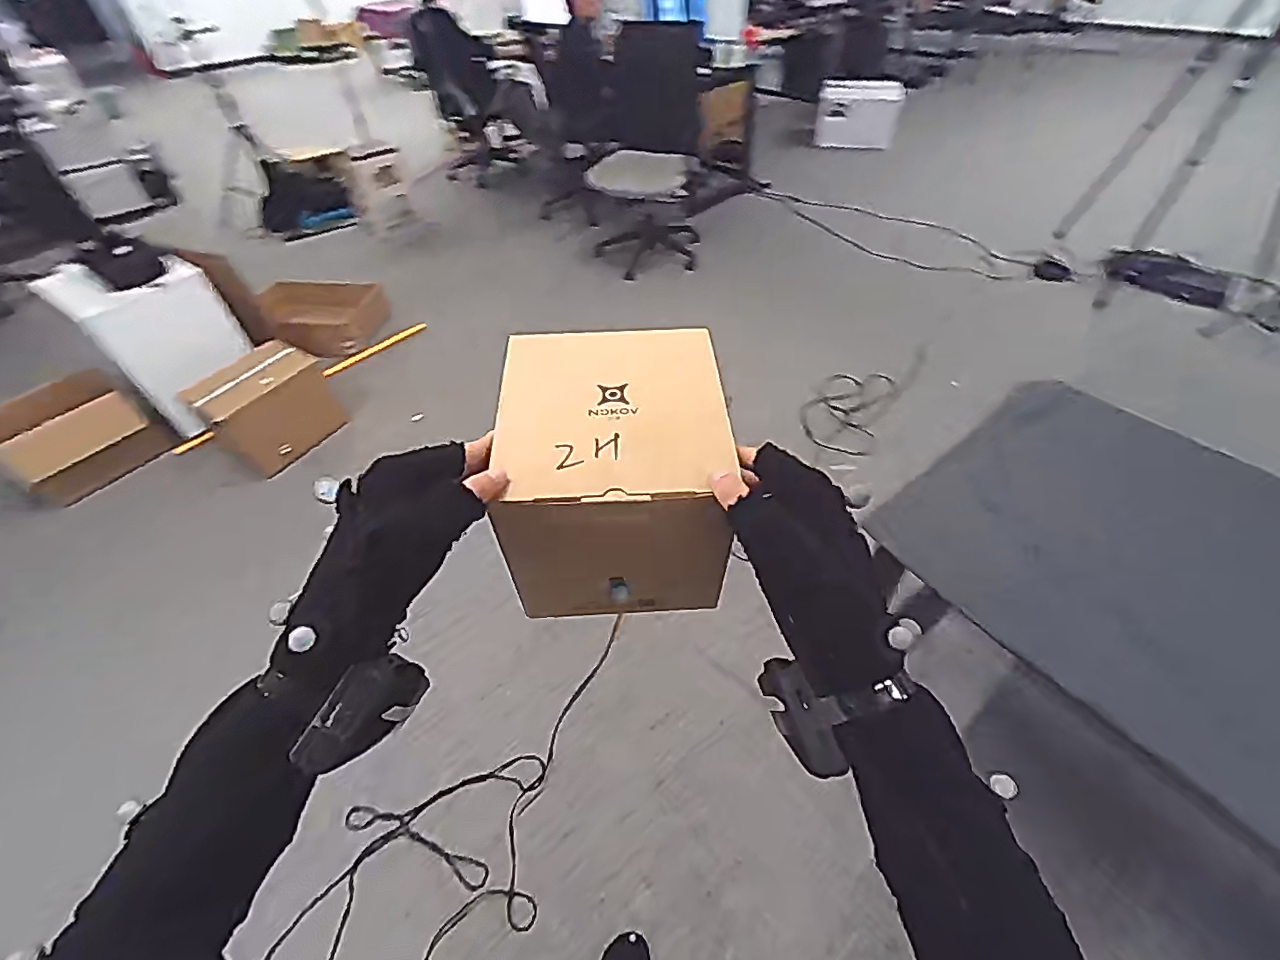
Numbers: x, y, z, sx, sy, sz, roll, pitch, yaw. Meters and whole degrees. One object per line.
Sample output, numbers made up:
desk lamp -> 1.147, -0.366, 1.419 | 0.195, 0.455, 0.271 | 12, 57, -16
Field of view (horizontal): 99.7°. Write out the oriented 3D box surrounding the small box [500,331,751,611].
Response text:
small box -> -0.012, -0.006, 0.461 | 0.168, 0.176, 0.179 | -2, 51, -1
